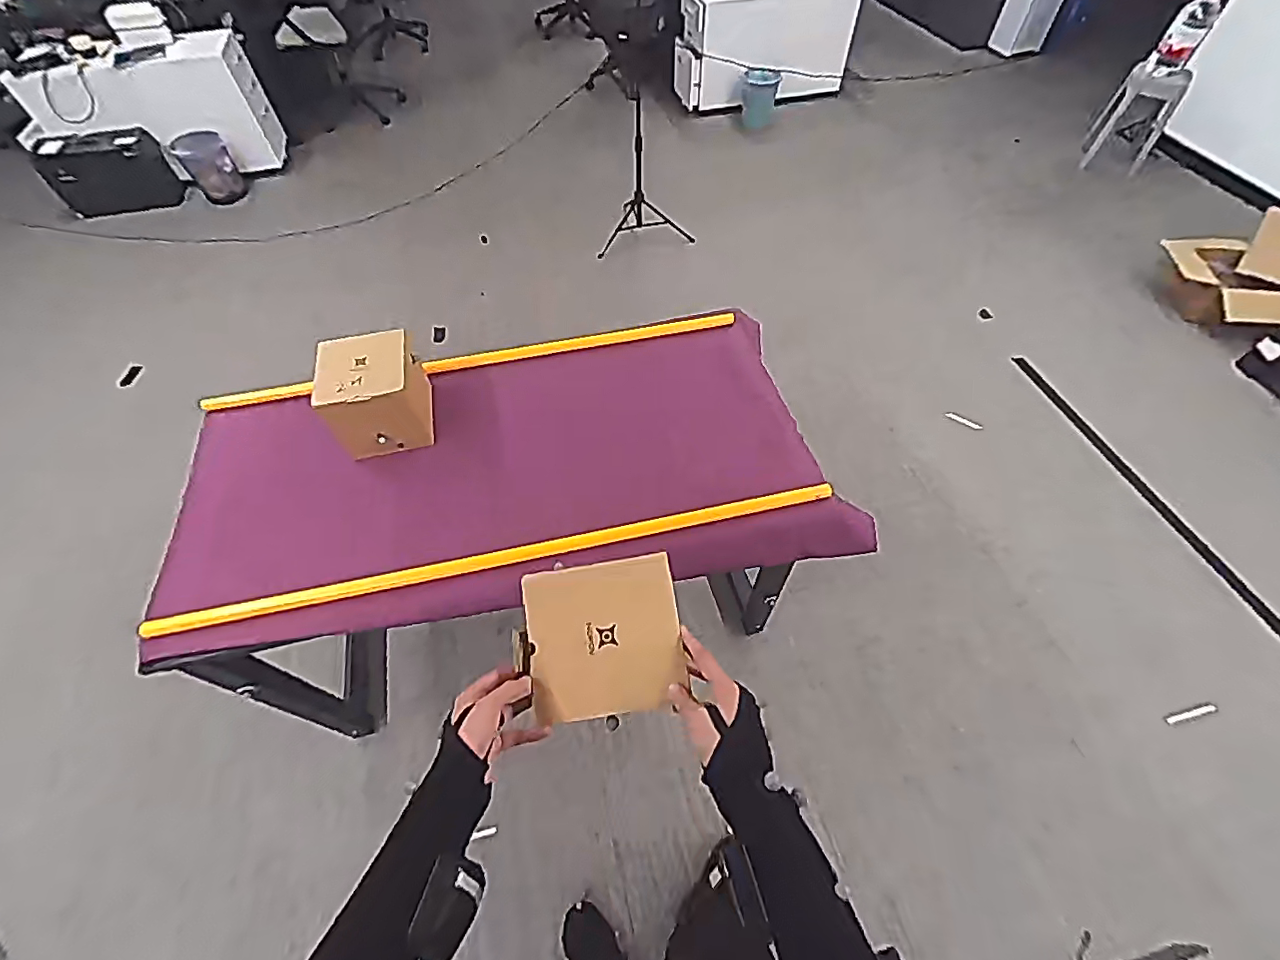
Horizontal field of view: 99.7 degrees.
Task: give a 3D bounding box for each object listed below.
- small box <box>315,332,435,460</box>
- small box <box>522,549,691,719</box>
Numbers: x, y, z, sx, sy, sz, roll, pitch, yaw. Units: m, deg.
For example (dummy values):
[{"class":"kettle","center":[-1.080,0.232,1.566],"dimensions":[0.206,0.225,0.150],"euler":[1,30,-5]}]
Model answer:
[{"class":"small box","center":[-0.524,-0.168,1.094],"dimensions":[0.168,0.176,0.179],"euler":[-12,58,-6]},{"class":"small box","center":[-0.035,0.193,0.681],"dimensions":[0.179,0.176,0.168],"euler":[-10,71,3]}]
